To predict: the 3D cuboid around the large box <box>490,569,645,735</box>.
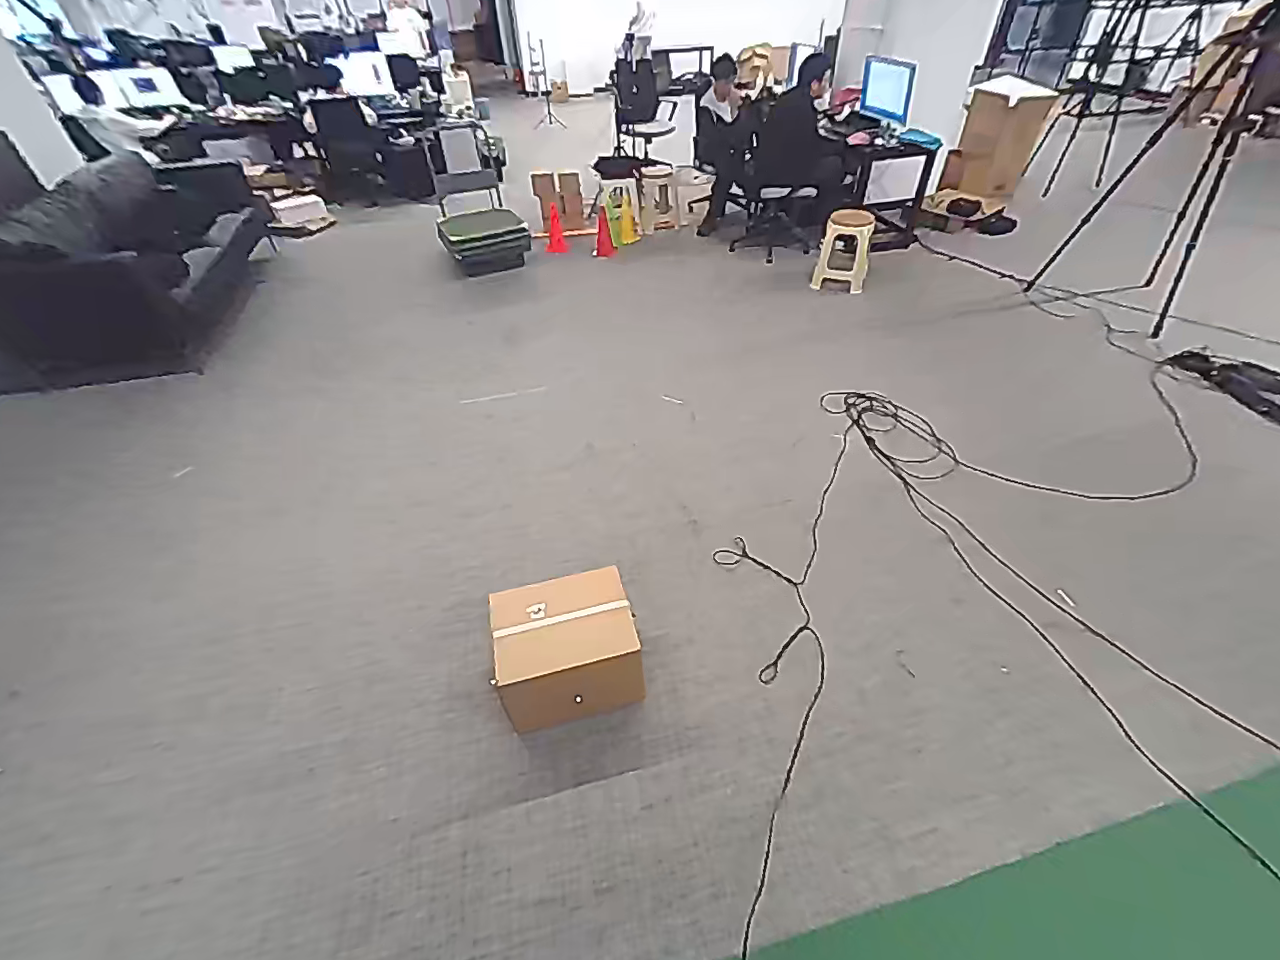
[{"bbox_3d":[-0.220,0.534,1.688,0.408,0.320,0.320,-13,43,-10],"label":"large box"}]
